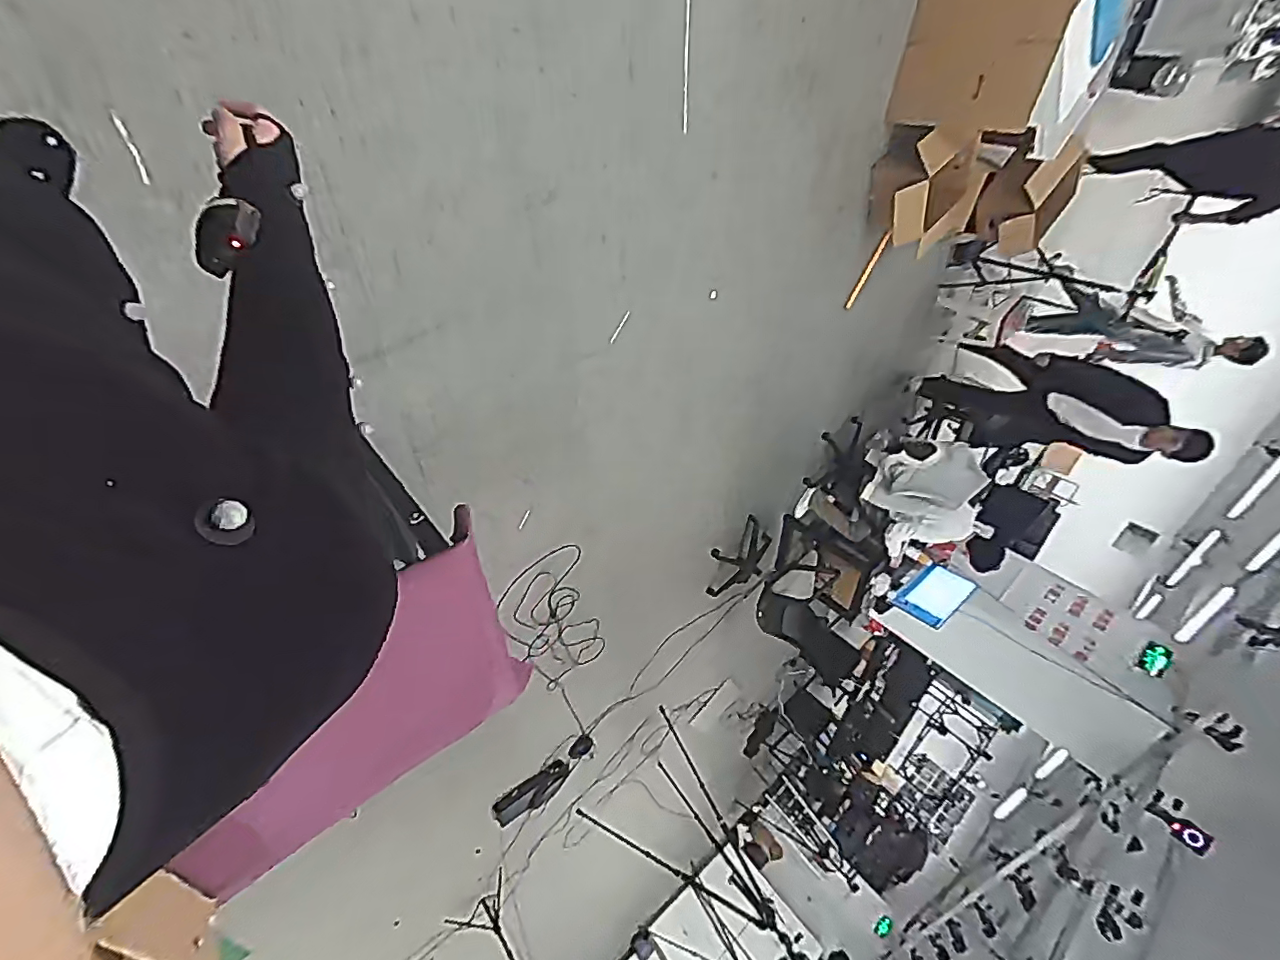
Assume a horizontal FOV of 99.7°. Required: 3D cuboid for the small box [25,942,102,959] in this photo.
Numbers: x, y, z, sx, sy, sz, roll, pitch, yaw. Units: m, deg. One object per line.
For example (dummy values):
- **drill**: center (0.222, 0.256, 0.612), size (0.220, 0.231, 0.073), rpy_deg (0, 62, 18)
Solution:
- **small box**: center (-1.023, 0.926, 0.896), size (0.168, 0.176, 0.179), rpy_deg (-28, 136, -32)
